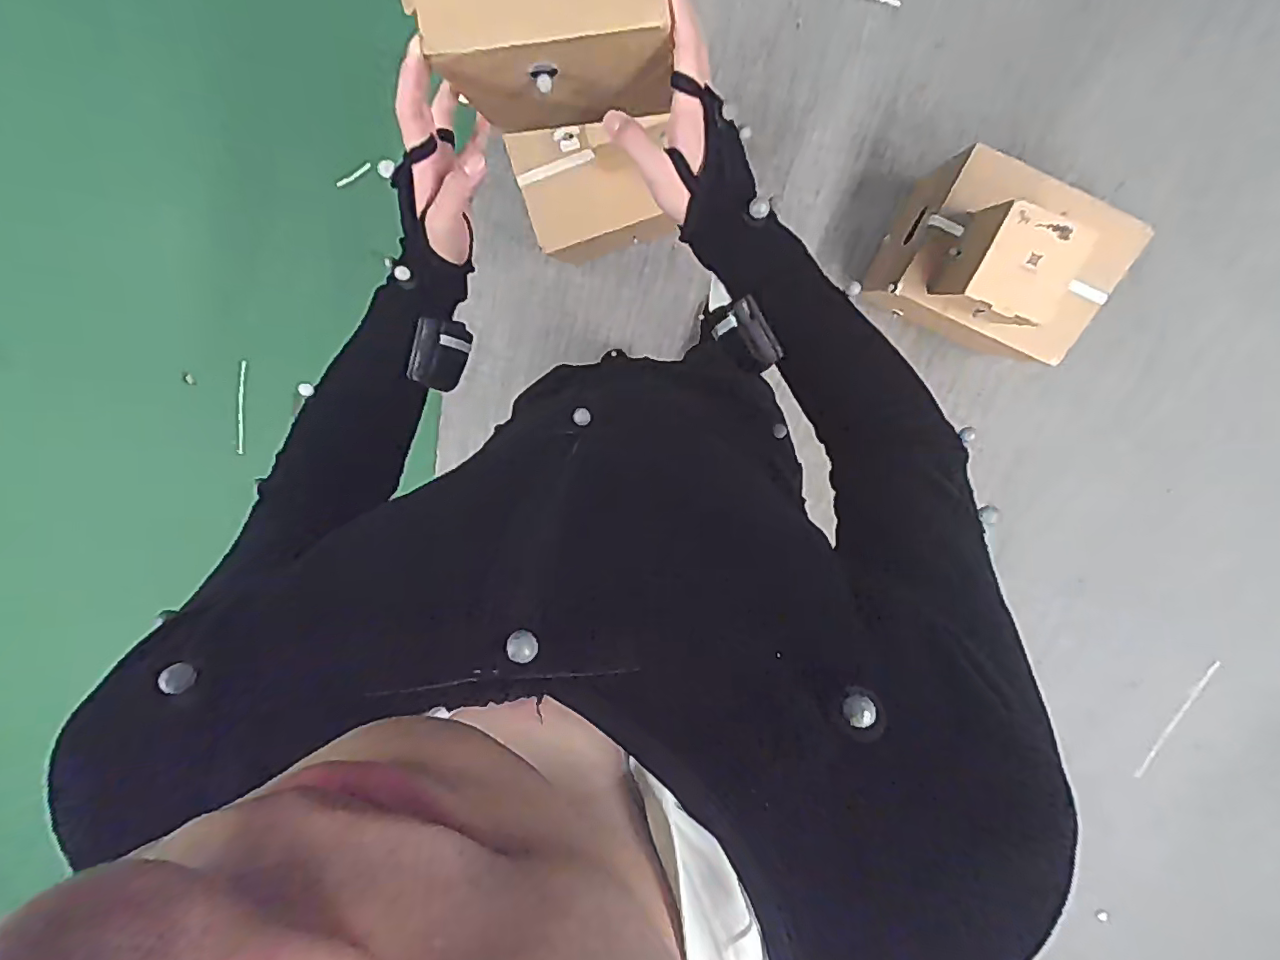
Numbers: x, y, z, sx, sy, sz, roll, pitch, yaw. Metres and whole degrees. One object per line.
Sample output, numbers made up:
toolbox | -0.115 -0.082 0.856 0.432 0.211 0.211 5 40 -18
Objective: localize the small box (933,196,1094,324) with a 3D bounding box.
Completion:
small box | 0.708 -0.422 1.057 0.168 0.176 0.179 22 110 -2

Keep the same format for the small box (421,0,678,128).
small box | -0.062 -0.401 0.425 0.179 0.176 0.168 -4 107 5

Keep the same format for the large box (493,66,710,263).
large box | -0.067 -0.745 1.289 0.408 0.320 0.320 -15 105 11
